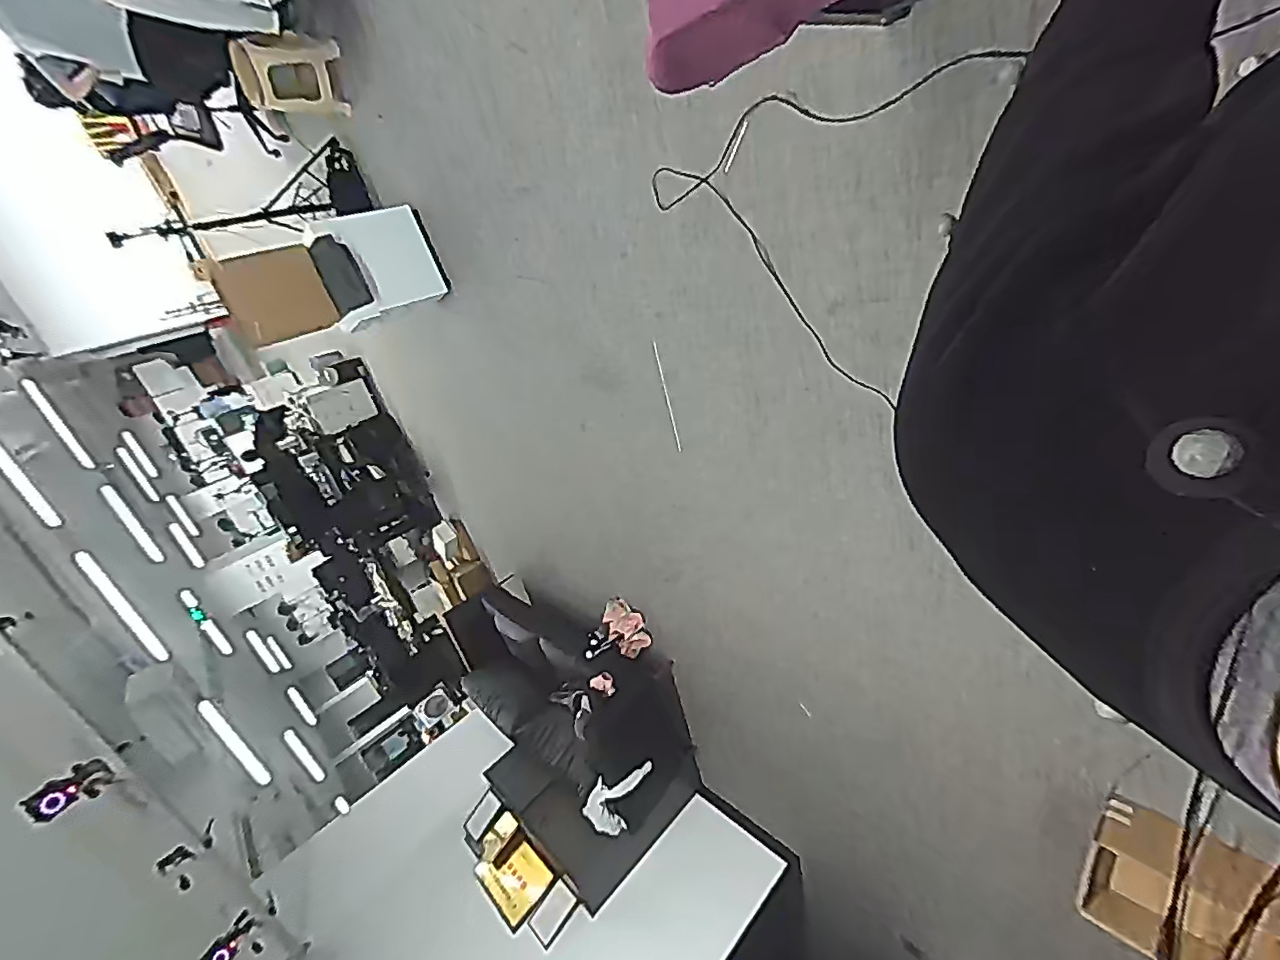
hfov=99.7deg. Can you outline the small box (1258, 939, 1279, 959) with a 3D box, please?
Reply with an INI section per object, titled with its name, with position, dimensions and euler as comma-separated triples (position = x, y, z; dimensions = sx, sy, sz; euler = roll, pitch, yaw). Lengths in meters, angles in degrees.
[small box]
position = 1.707, 1.348, 1.386
dimensions = 0.168, 0.176, 0.179
euler = 13, 126, 48
